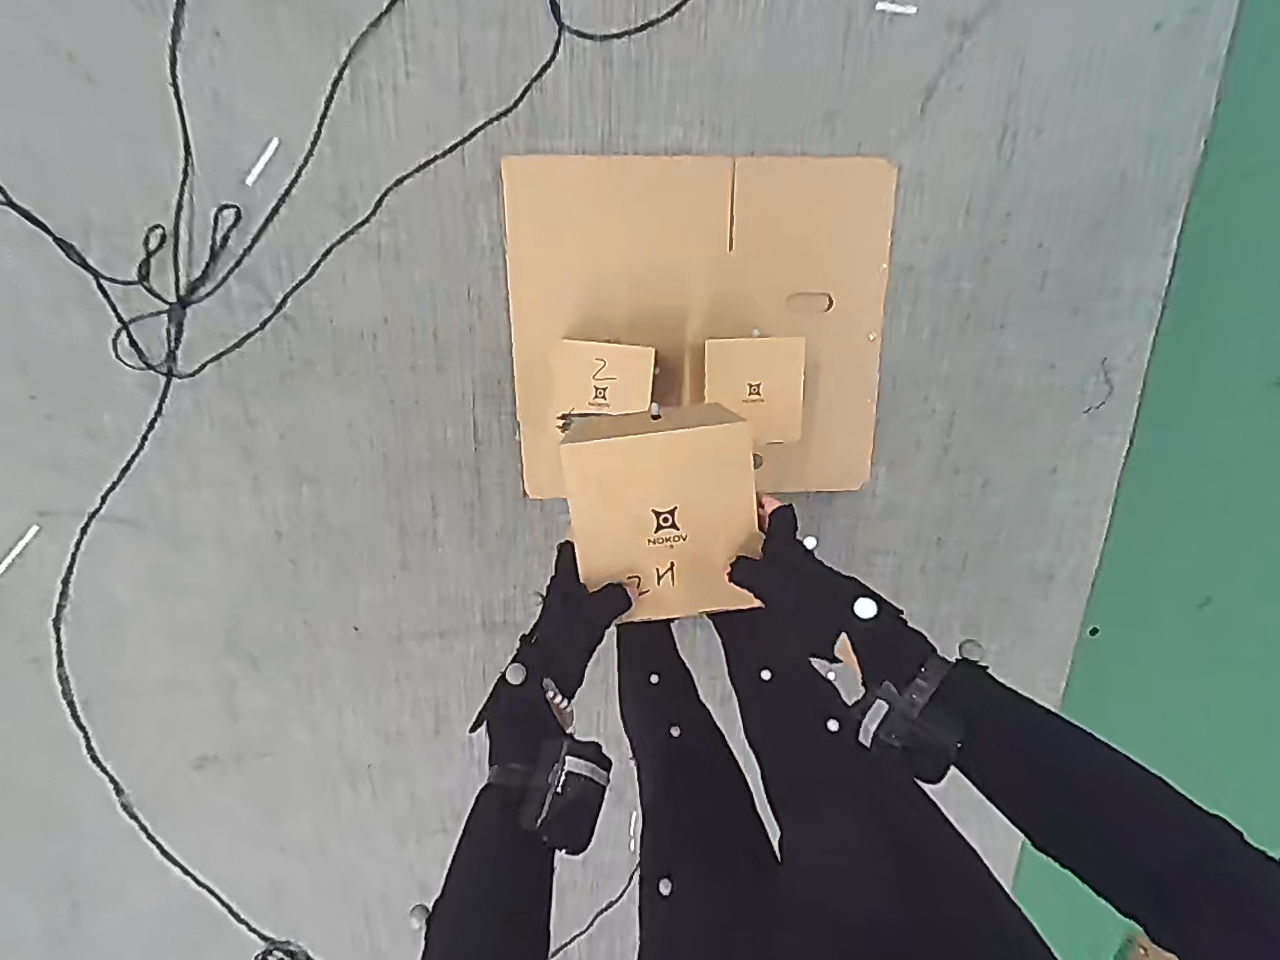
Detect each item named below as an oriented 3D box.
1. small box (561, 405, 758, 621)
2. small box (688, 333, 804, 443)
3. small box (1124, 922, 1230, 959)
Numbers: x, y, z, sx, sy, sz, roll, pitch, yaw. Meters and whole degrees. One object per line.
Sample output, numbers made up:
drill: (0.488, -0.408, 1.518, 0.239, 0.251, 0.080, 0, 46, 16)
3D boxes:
small box: (0.017, 0.020, 0.559, 0.168, 0.176, 0.179, -7, 105, 0)
small box: (0.178, -0.166, 0.955, 0.168, 0.176, 0.179, -3, 106, -3)
small box: (1.439, 1.313, 1.425, 0.179, 0.176, 0.168, 2, 105, -6)
